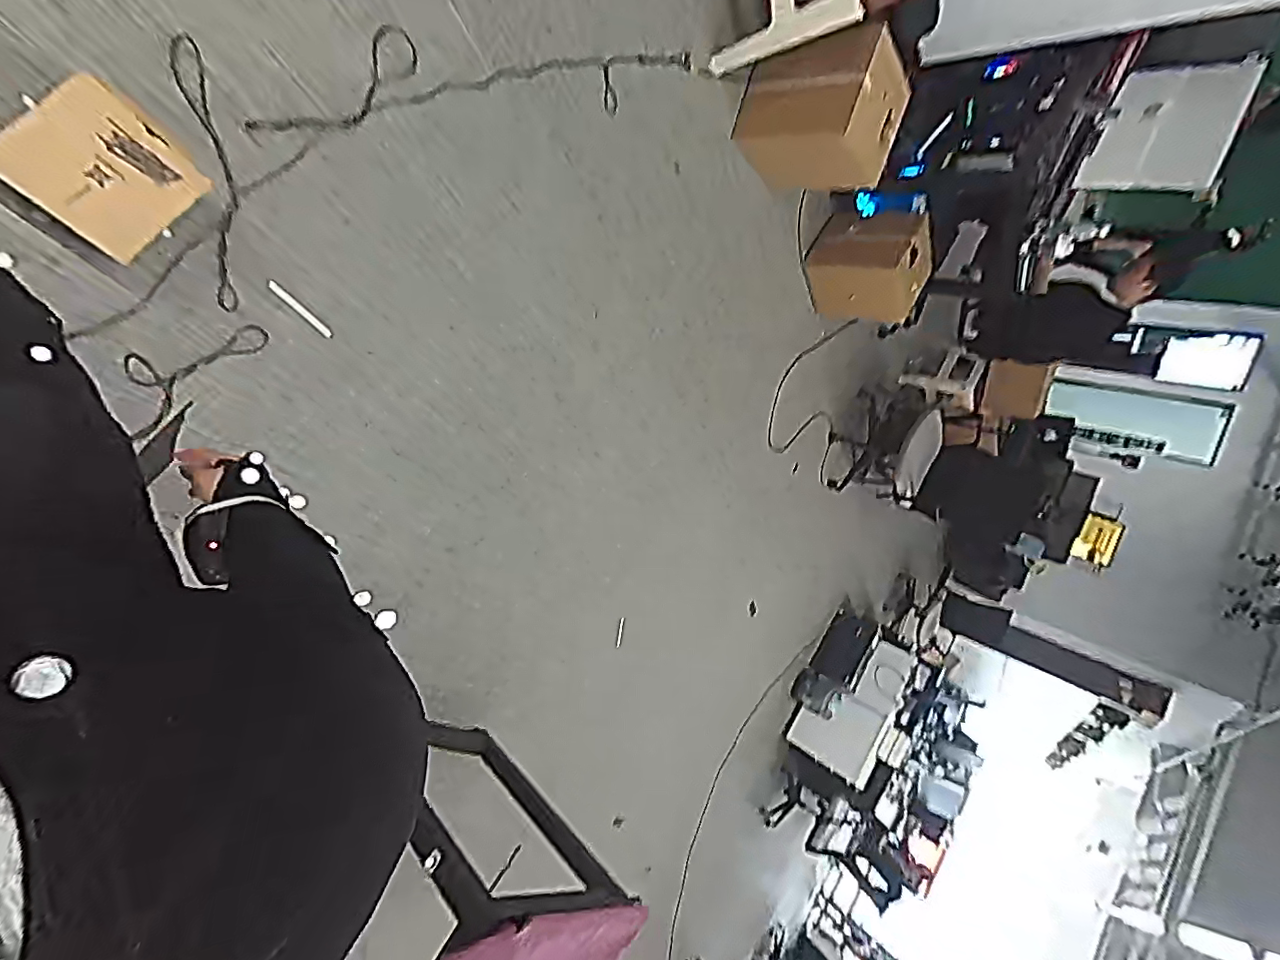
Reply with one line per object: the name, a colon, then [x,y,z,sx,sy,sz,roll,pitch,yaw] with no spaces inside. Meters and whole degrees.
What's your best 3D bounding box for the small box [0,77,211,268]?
small box: [-0.783,-0.436,0.782,0.179,0.176,0.168,-55,139,-14]
